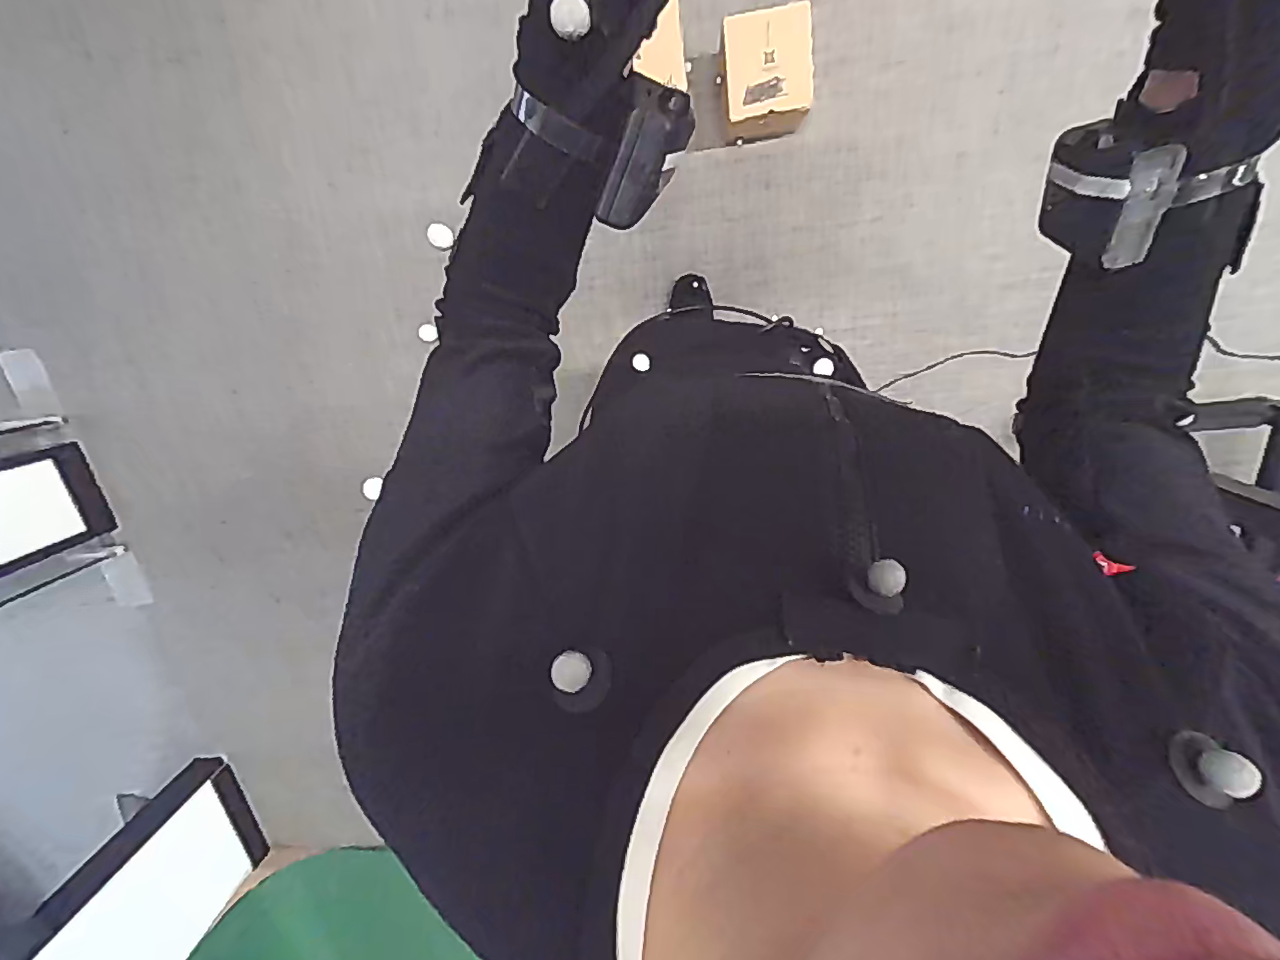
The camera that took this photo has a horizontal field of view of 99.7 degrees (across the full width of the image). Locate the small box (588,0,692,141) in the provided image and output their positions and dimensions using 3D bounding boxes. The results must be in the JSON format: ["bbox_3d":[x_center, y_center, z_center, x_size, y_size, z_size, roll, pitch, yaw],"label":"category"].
[{"bbox_3d":[0.006,-0.759,0.999,0.168,0.176,0.179,-4,107,7],"label":"small box"}]

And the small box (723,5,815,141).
[{"bbox_3d":[0.264,-0.829,1.123,0.168,0.176,0.179,-6,107,7],"label":"small box"}]
